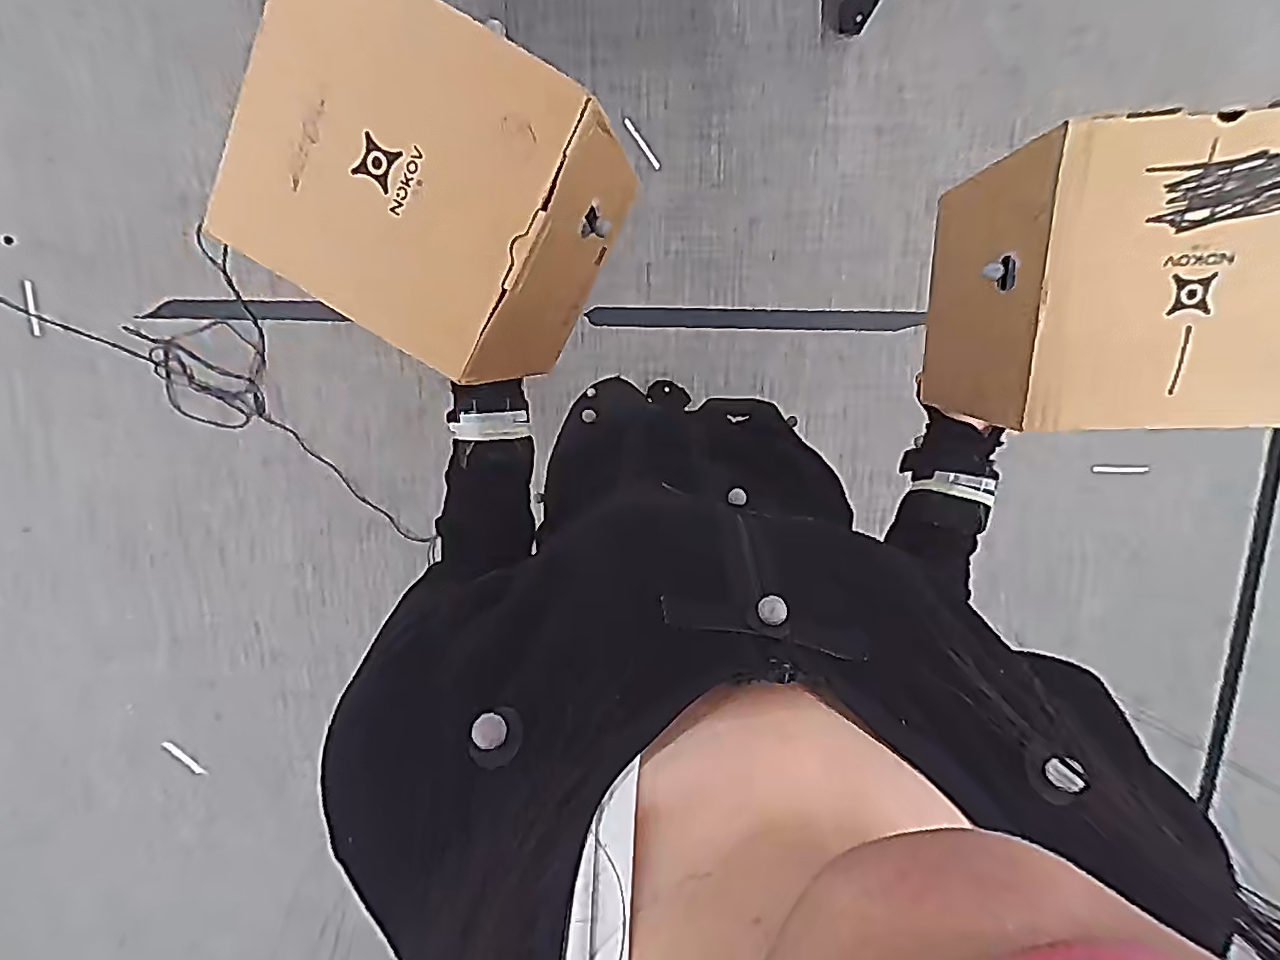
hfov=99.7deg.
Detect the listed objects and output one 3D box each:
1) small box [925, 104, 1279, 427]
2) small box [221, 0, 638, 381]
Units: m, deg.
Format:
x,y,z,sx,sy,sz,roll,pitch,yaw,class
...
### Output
x,y,z,sx,sy,sz,roll,pitch,yaw,class
0.328,-0.137,0.391,0.168,0.176,0.179,0,105,7,small box
-0.118,-0.186,0.367,0.179,0.176,0.168,31,105,1,small box
